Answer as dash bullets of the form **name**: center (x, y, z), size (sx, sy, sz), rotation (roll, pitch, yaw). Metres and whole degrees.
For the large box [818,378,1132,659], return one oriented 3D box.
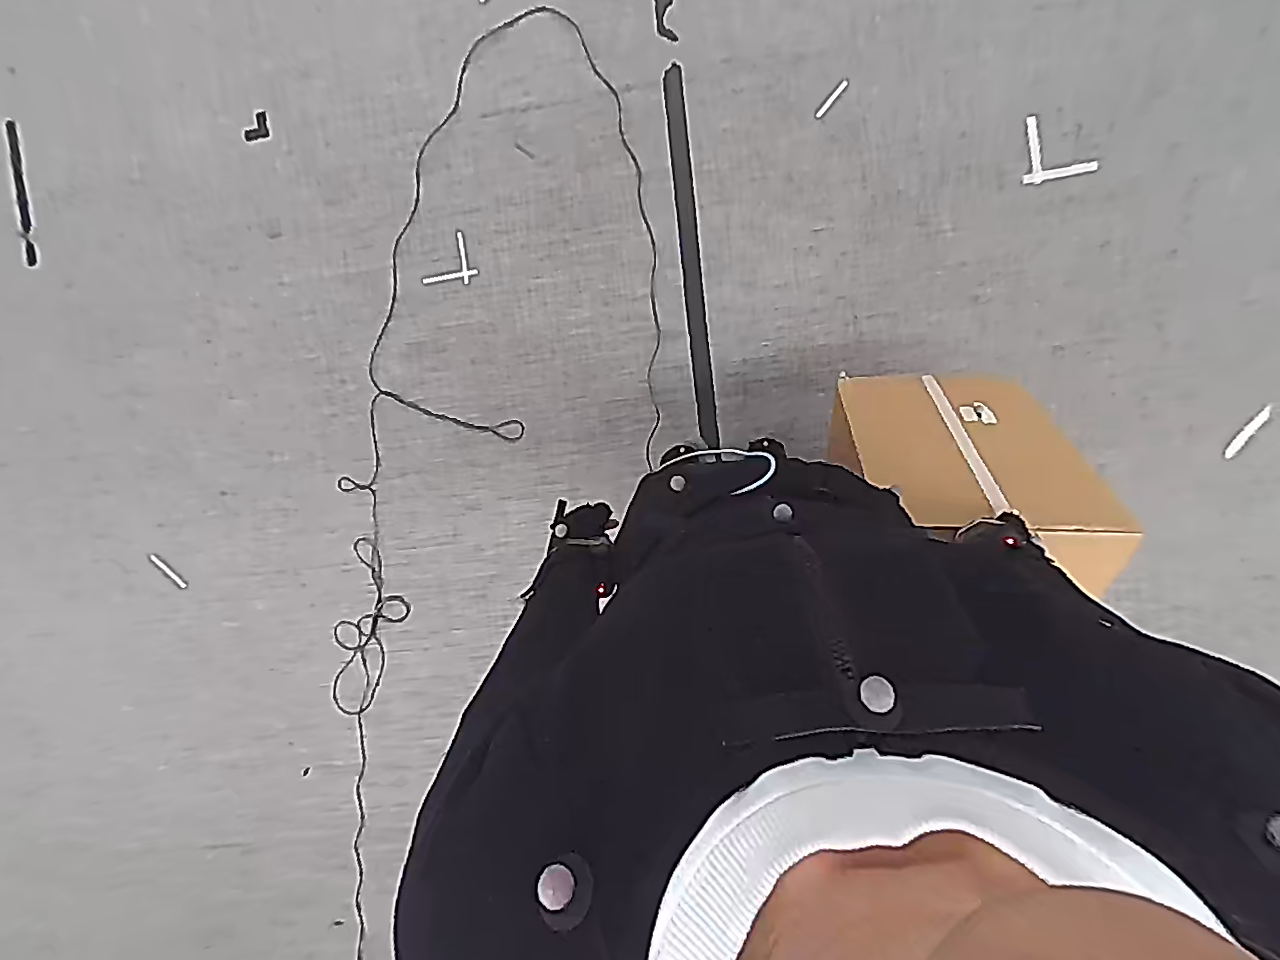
- **large box**: center (0.513, 0.056, 0.950), size (0.320, 0.408, 0.320), rotation (1, 129, 8)
